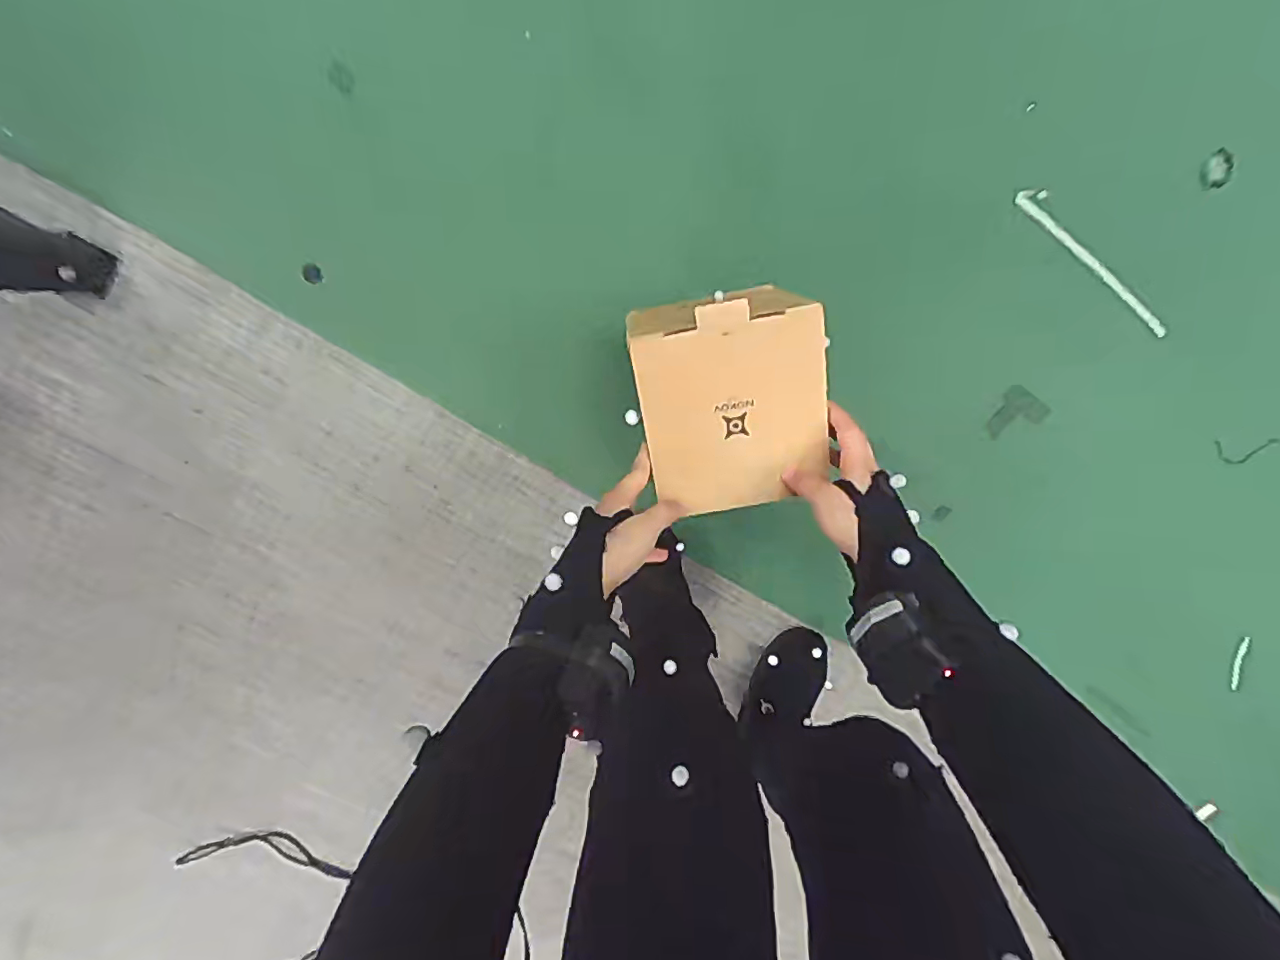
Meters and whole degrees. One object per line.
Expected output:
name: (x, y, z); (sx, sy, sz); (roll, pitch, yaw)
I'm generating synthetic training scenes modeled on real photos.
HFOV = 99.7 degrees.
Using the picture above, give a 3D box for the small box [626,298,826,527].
small box: (0.081, -0.077, 0.553); (0.168, 0.176, 0.179); (-10, 113, 2)
